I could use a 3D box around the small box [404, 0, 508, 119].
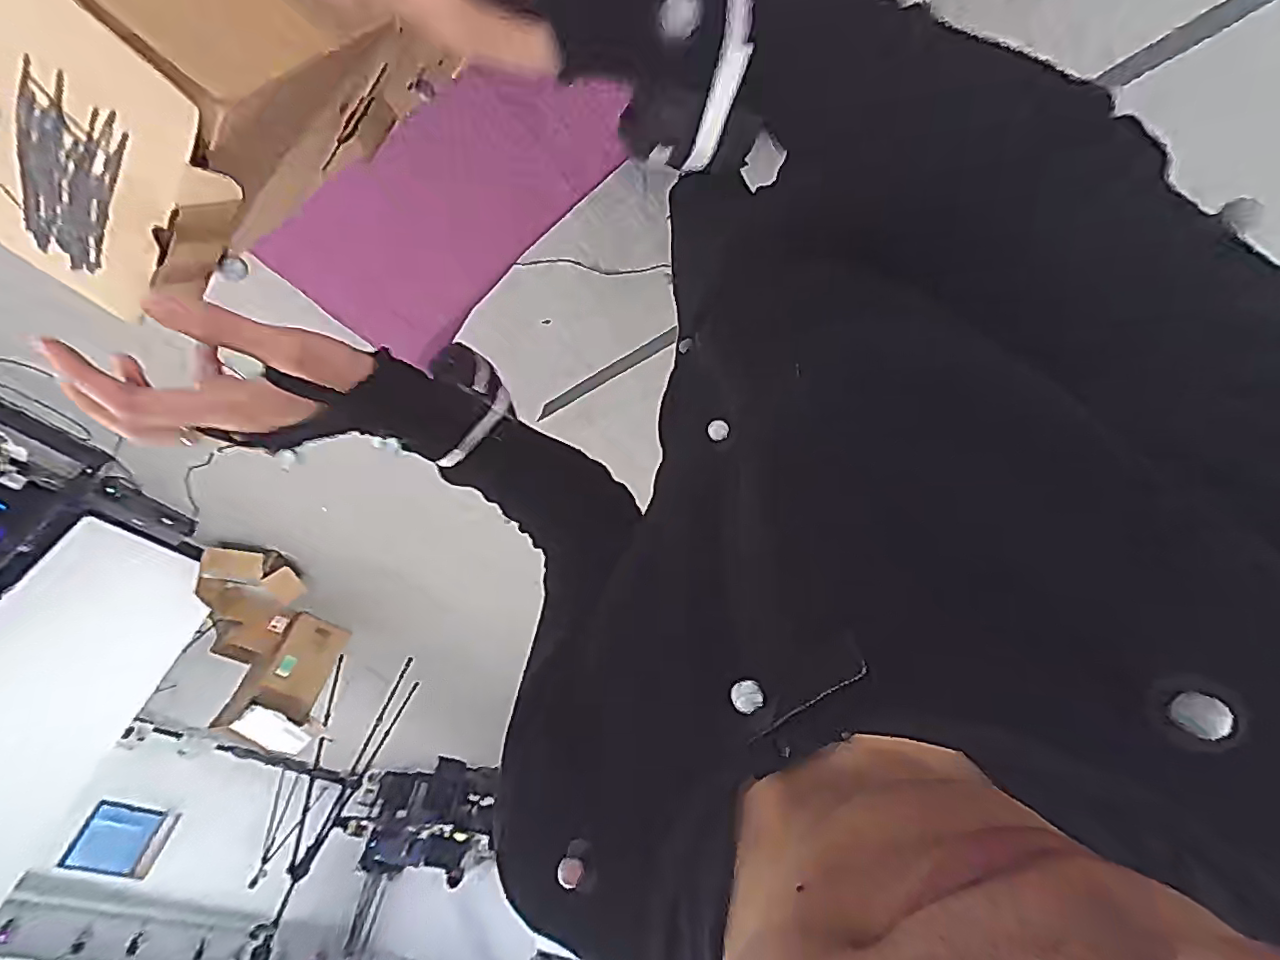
[{"bbox_3d":[-0.213,-0.477,0.475,0.168,0.176,0.179,-28,127,36],"label":"small box"}]

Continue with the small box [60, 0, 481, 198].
[{"bbox_3d":[-0.244,-0.350,0.376,0.168,0.176,0.179,-25,129,35],"label":"small box"}]
